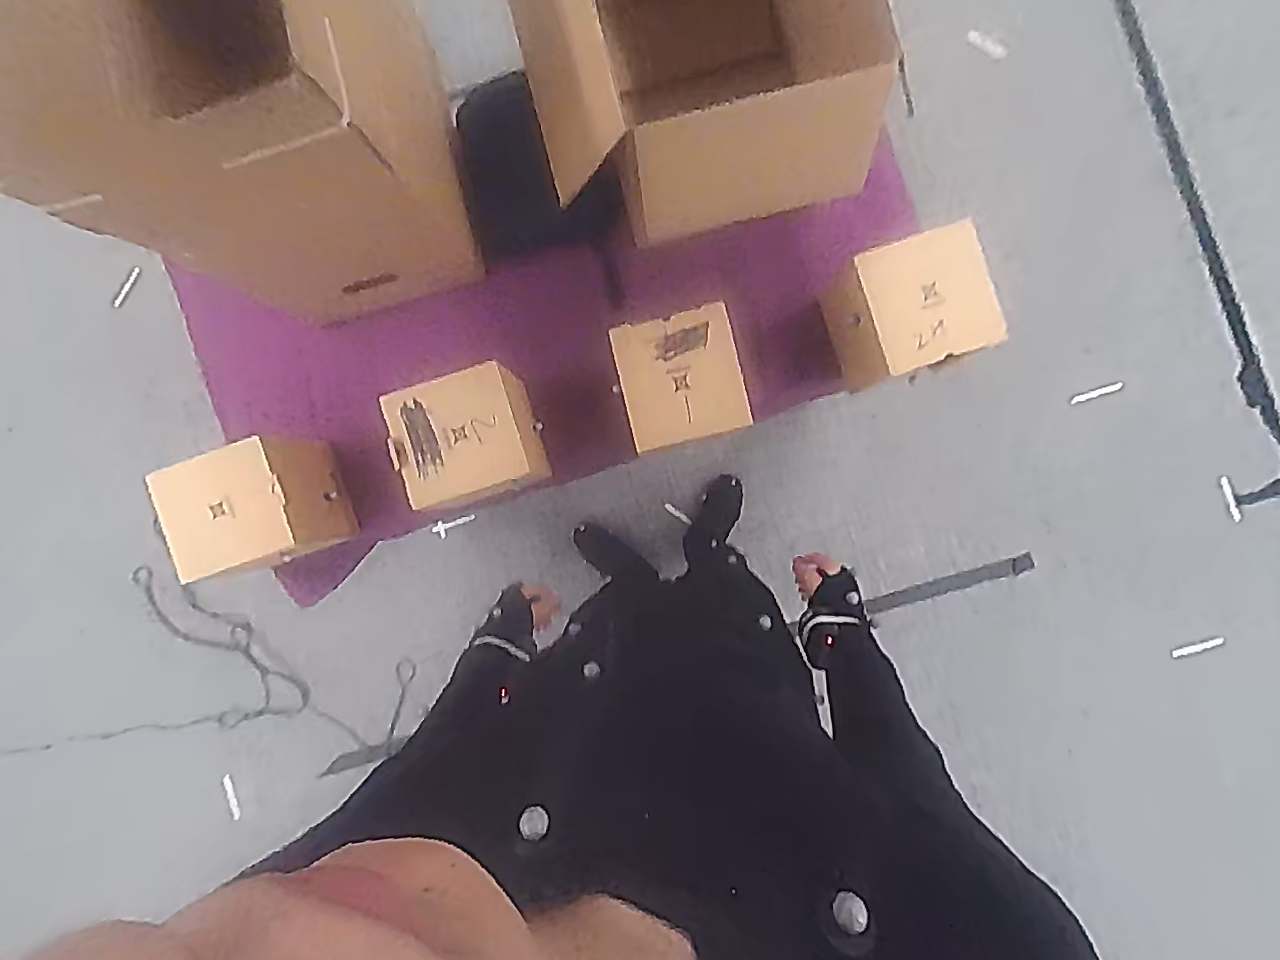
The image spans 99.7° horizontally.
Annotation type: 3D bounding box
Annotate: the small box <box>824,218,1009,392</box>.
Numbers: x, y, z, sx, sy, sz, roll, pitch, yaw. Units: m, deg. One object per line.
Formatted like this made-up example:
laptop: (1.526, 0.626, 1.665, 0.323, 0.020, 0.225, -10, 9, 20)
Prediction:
small box: (0.394, -0.248, 0.806, 0.168, 0.176, 0.179, -17, 89, 3)

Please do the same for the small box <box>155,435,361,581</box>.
small box: (-0.577, 0.042, 0.839, 0.179, 0.176, 0.168, -20, 89, 0)
